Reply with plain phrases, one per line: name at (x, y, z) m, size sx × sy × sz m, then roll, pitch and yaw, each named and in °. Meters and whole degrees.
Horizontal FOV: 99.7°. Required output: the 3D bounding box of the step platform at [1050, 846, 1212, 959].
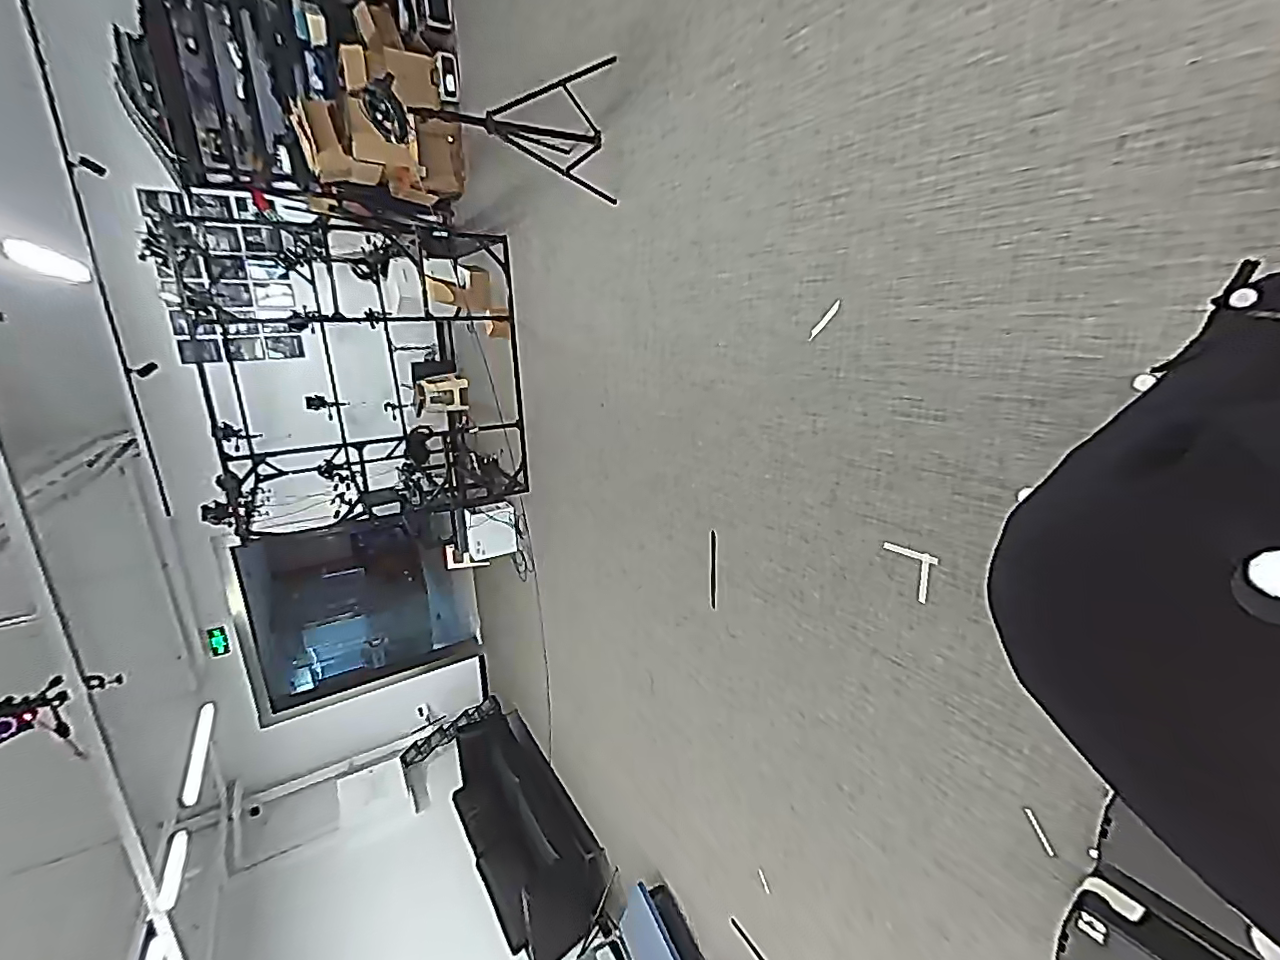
step platform at (1.245, 1.124, 1.079) m, size 0.684 × 0.204 × 0.286 m, roll 24°, pitch 120°, yaw 57°
